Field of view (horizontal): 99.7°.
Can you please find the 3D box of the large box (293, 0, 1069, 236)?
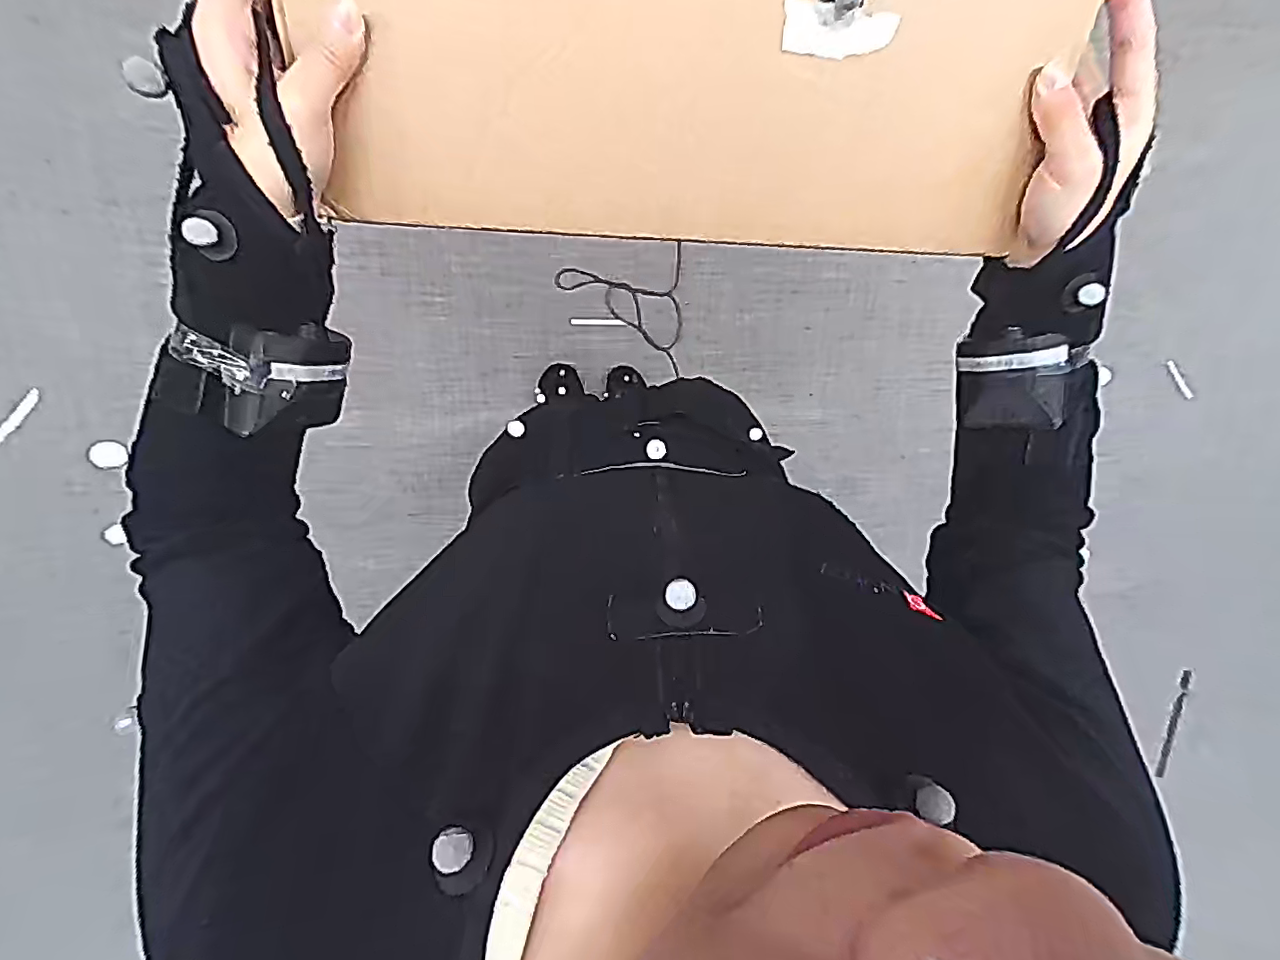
[{"bbox_3d":[0.016,-0.356,0.381,0.408,0.320,0.320,0,119,-7],"label":"large box"}]
